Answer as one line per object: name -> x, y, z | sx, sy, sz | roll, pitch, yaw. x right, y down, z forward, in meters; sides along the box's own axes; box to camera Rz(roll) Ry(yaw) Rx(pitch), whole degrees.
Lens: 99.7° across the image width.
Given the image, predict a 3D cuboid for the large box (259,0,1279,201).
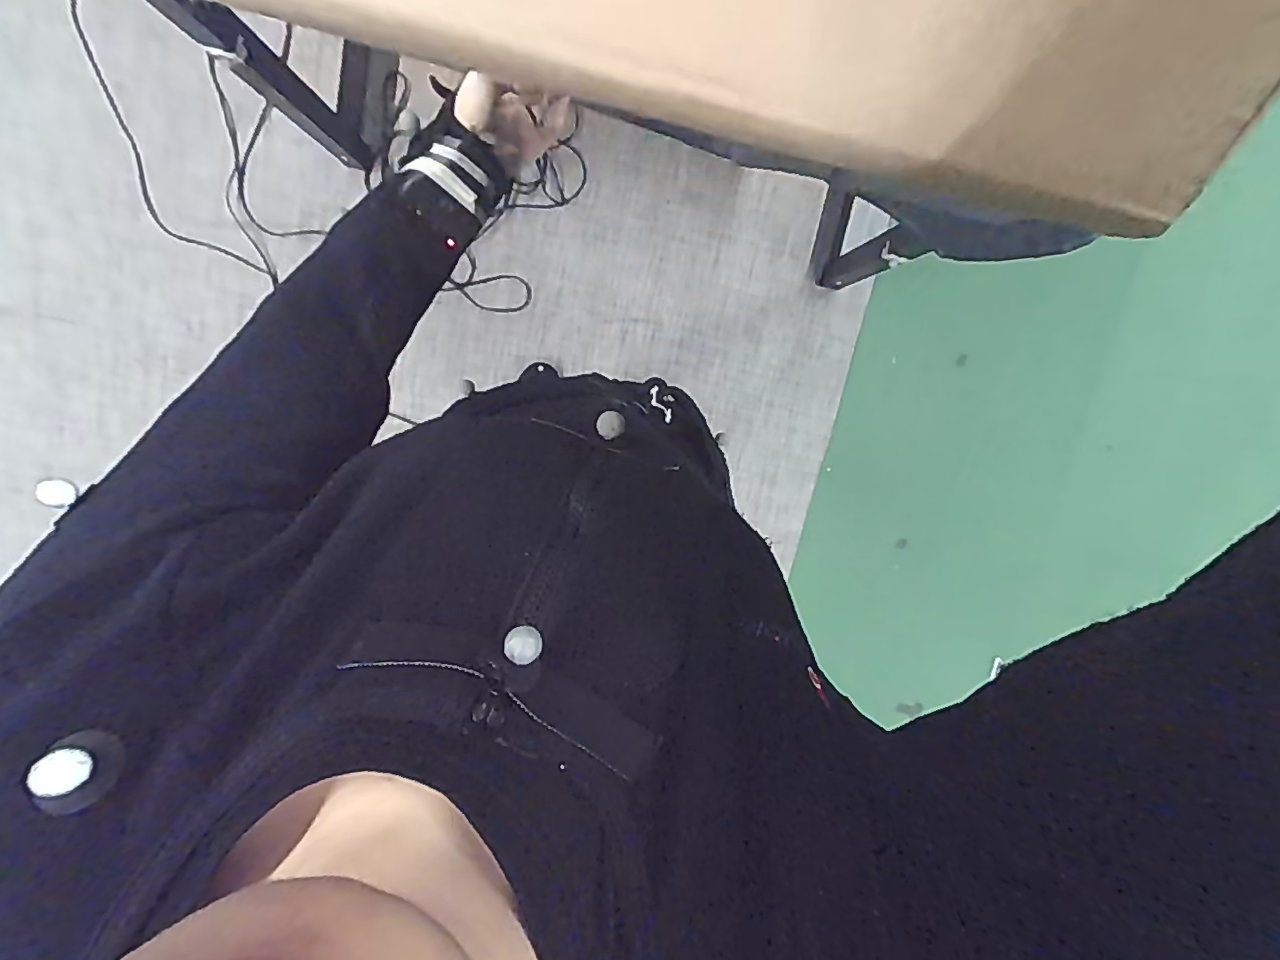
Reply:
large box -> 0.060, -0.358, 0.229 | 0.320, 0.408, 0.320 | 11, 129, -4
